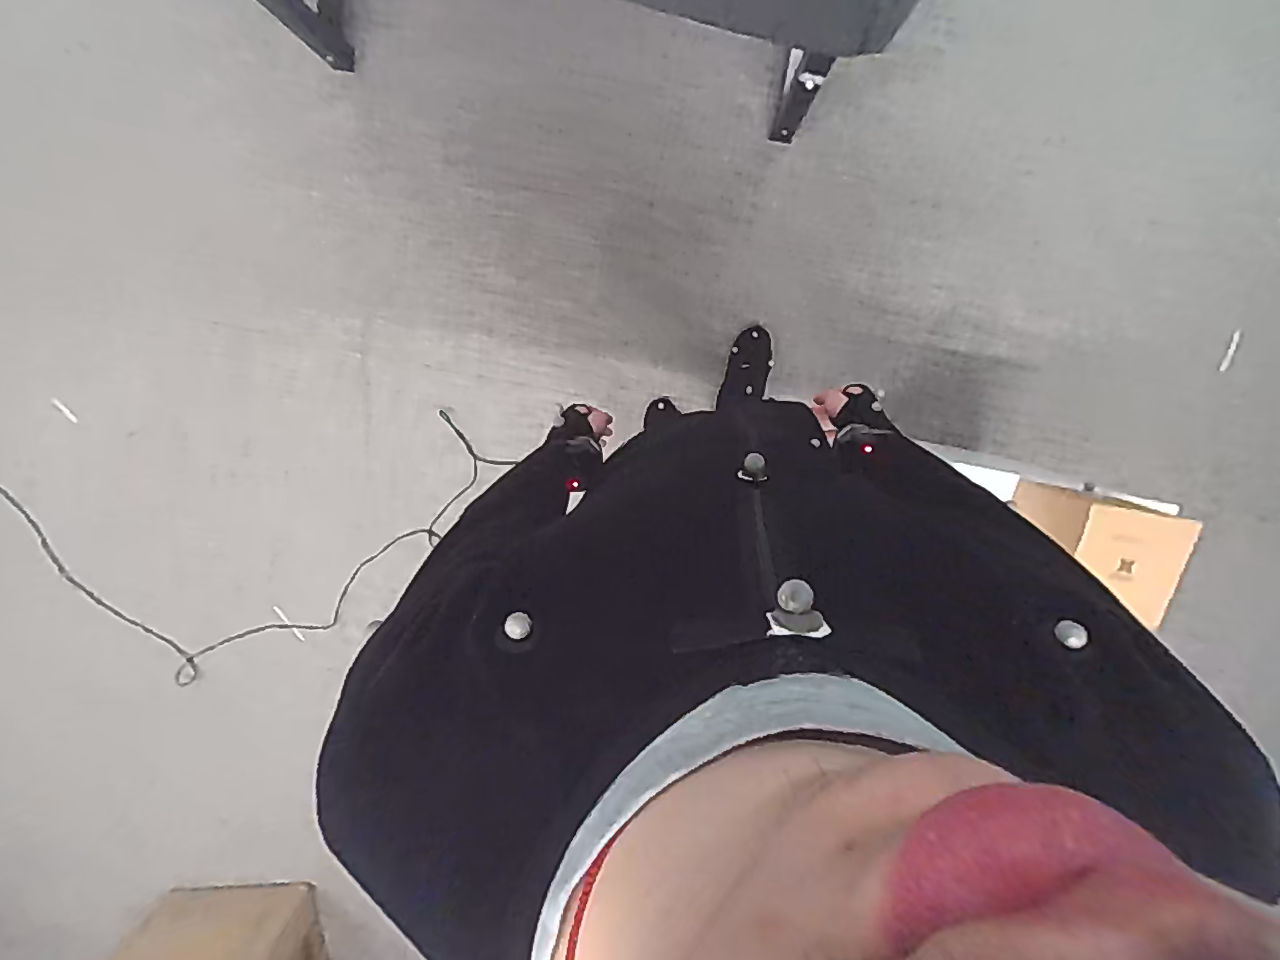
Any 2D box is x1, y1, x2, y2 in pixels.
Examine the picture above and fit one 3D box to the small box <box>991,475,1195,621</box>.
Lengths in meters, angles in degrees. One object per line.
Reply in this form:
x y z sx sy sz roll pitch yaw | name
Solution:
0.713 0.102 0.878 0.168 0.176 0.179 8 102 -3 | small box
